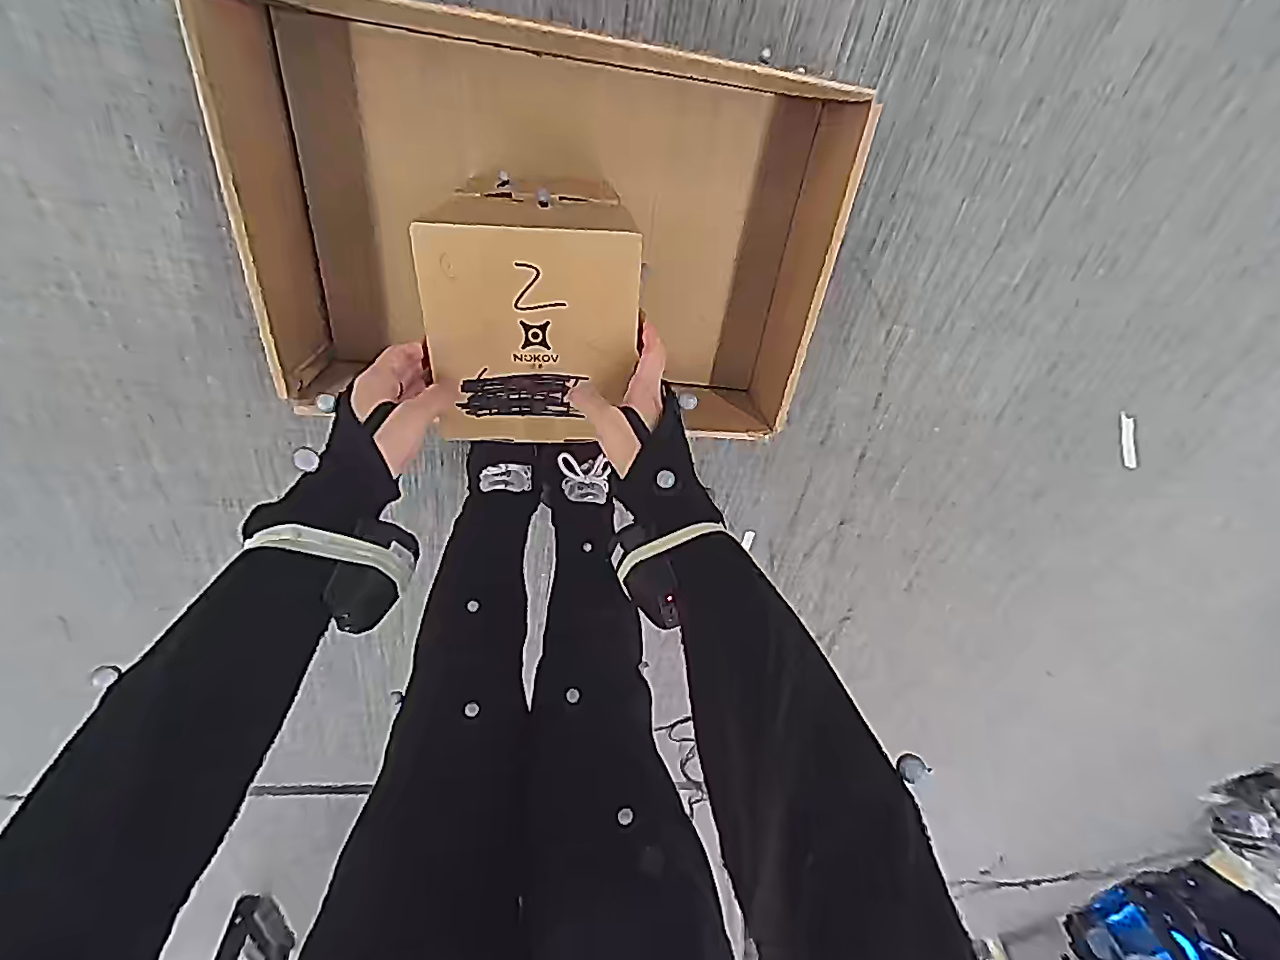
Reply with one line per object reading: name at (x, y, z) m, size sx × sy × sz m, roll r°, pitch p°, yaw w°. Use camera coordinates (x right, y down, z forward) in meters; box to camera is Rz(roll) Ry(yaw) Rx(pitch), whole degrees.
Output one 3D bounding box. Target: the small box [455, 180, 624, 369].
small box at (-0.111, -0.244, 0.634) m, size 0.168 × 0.176 × 0.179 m, roll -2°, pitch 125°, yaw -7°
